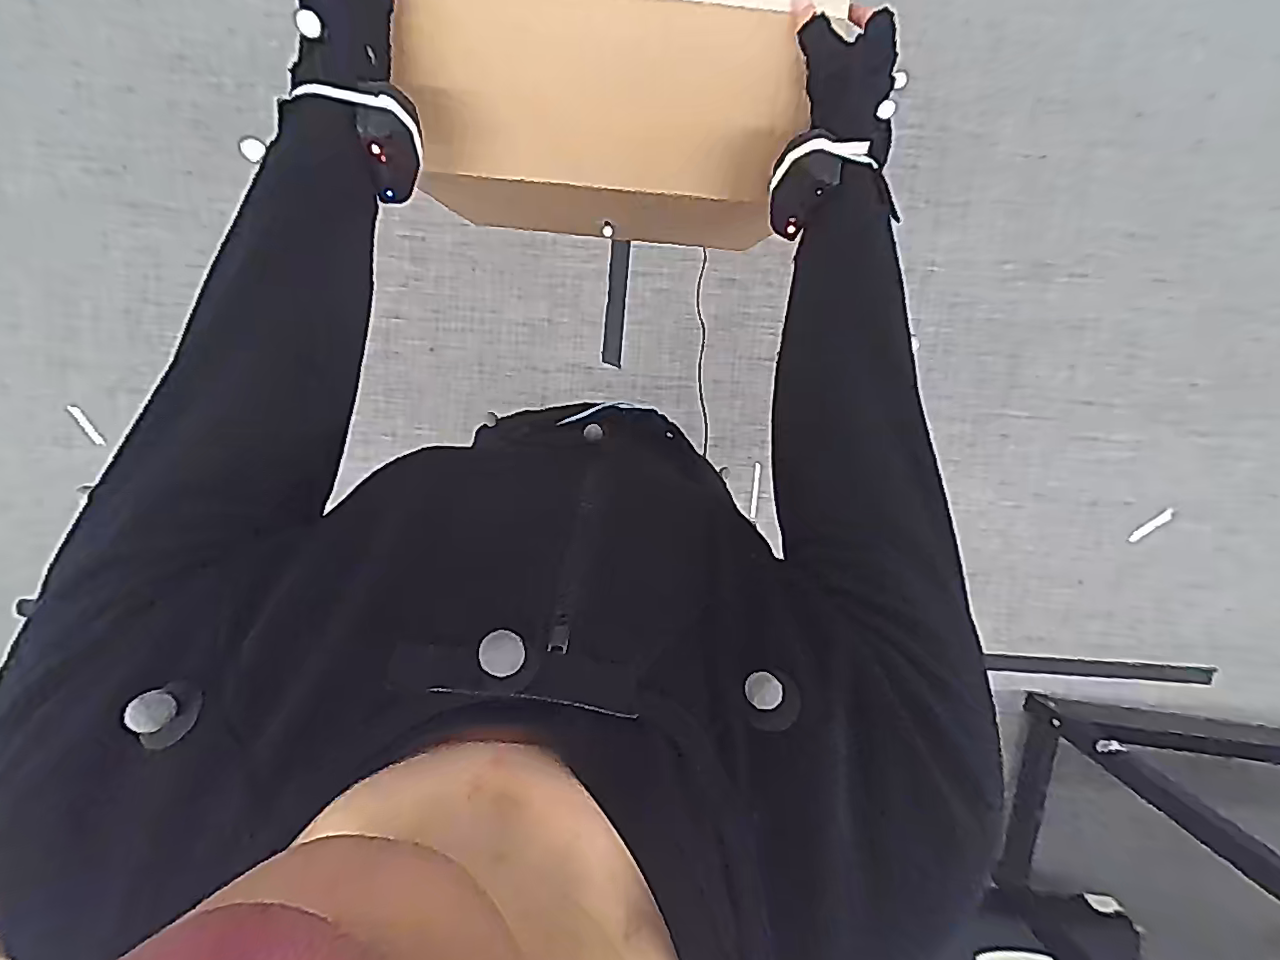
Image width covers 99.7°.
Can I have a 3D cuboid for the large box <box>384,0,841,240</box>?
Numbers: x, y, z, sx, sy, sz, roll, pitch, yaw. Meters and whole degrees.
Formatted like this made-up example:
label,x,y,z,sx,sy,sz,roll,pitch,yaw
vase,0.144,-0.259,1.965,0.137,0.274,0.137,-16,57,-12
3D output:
label,x,y,z,sx,sy,sz,roll,pitch,yaw
large box,-0.022,-0.466,0.608,0.408,0.320,0.320,4,105,-2
